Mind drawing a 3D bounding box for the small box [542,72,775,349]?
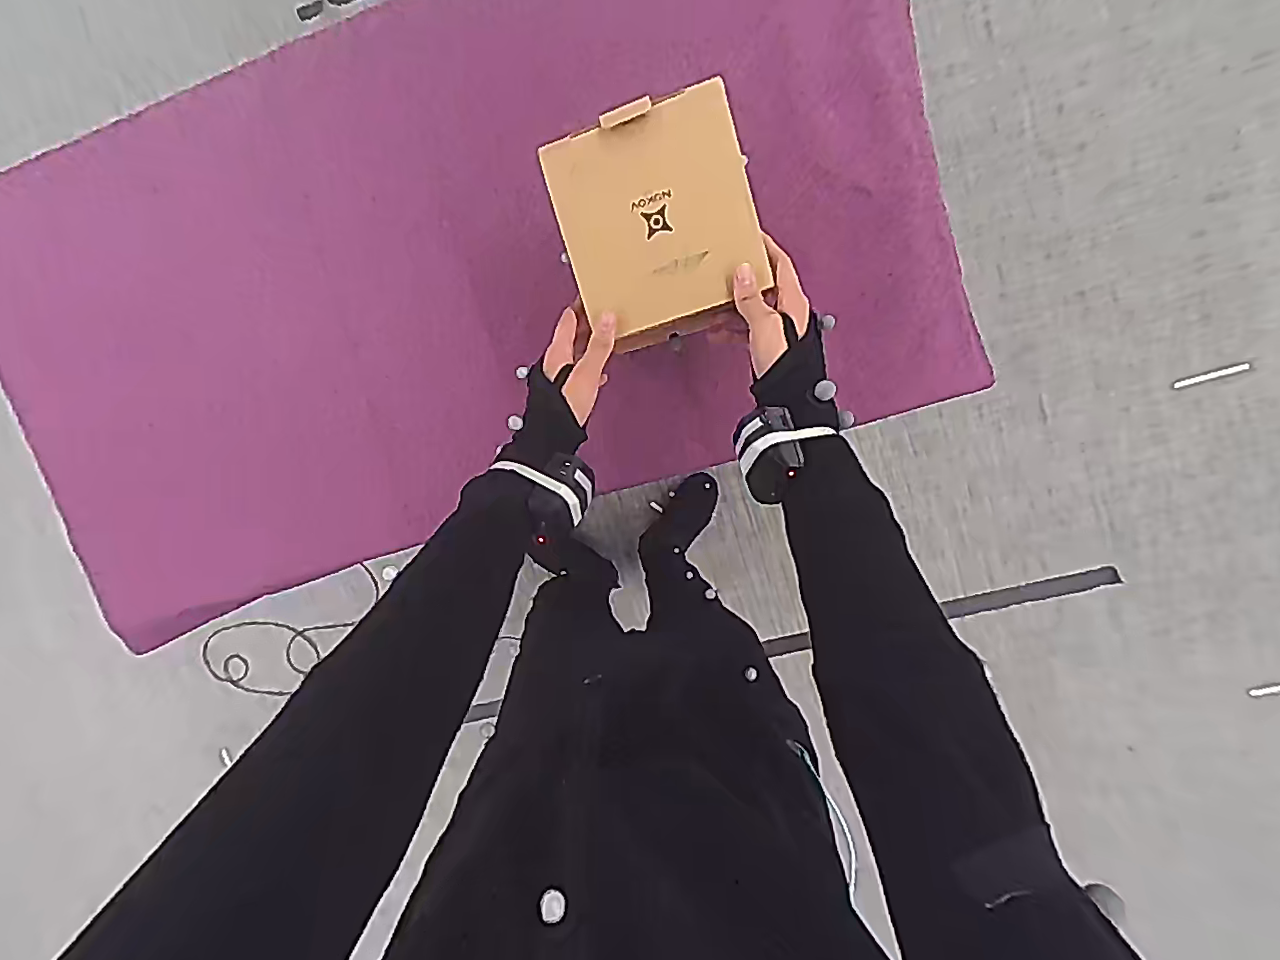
[{"bbox_3d":[0.024,-0.239,0.533,0.168,0.176,0.179,-14,98,10],"label":"small box"}]
